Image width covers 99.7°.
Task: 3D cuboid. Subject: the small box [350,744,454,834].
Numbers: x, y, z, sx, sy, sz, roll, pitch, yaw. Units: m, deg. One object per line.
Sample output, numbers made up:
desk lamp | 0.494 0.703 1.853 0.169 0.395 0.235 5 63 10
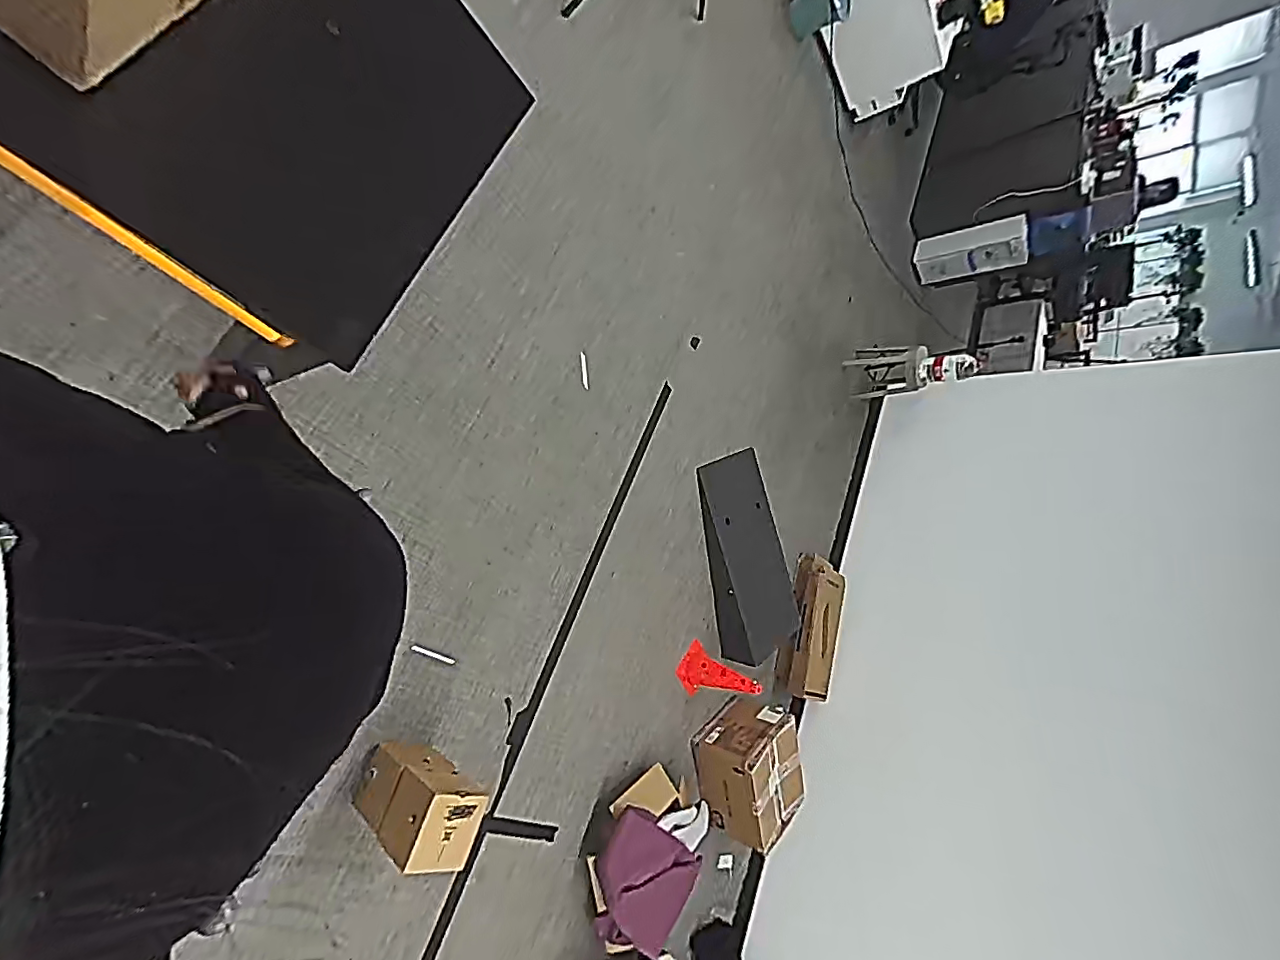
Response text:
small box | -0.650 0.837 1.476 0.179 0.176 0.168 32 68 -41

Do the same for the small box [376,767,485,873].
small box | -0.530 0.848 1.363 0.168 0.176 0.179 35 67 -42
